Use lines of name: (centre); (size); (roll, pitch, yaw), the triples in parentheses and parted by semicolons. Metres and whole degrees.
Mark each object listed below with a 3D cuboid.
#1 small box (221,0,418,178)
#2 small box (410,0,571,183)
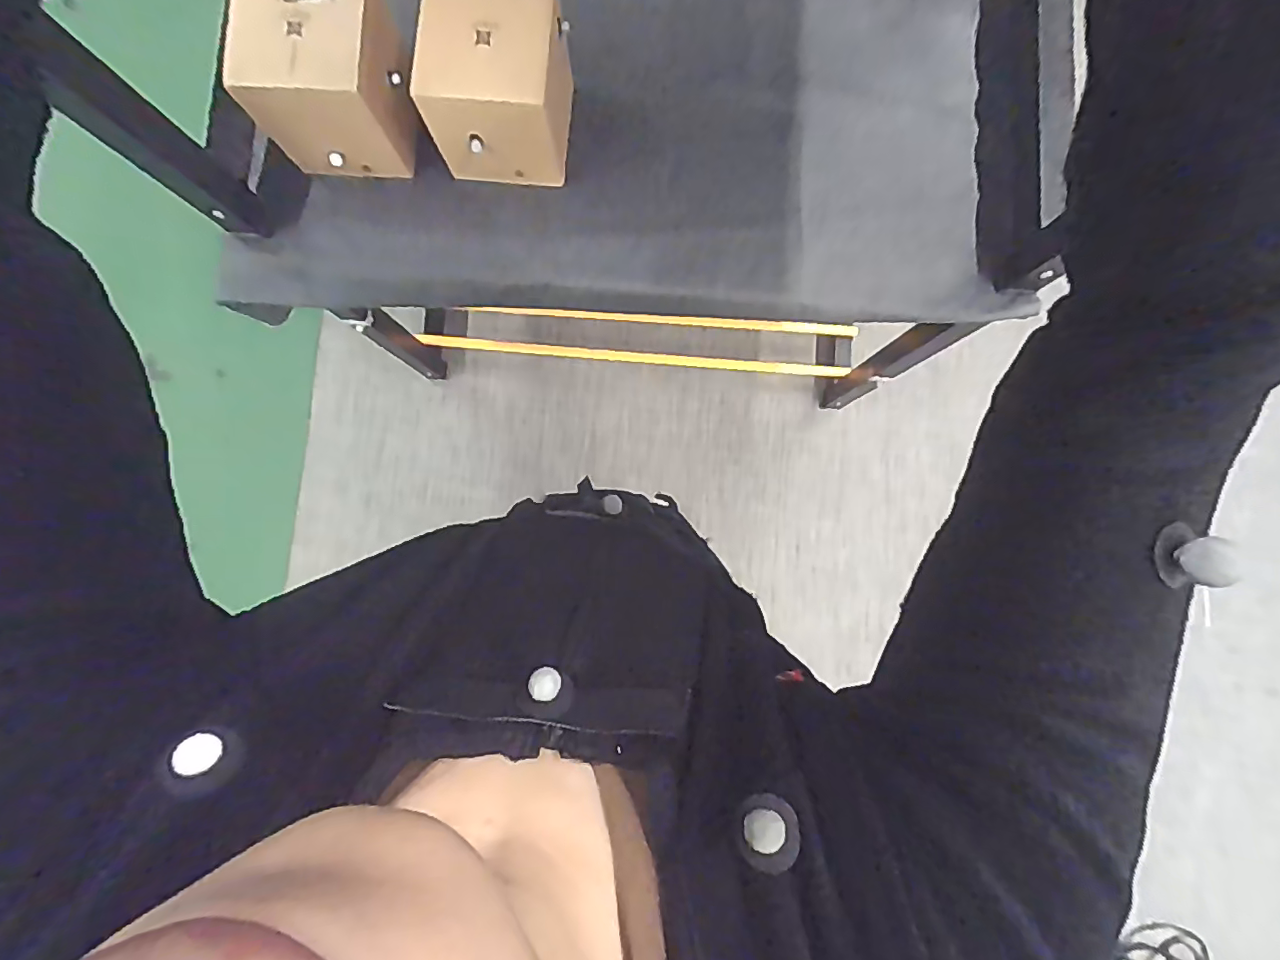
small box: (-0.417, -0.548, 0.734); (0.168, 0.176, 0.179); (2, 85, 0)
small box: (-0.190, -0.537, 0.737); (0.168, 0.176, 0.179); (4, 84, 0)
